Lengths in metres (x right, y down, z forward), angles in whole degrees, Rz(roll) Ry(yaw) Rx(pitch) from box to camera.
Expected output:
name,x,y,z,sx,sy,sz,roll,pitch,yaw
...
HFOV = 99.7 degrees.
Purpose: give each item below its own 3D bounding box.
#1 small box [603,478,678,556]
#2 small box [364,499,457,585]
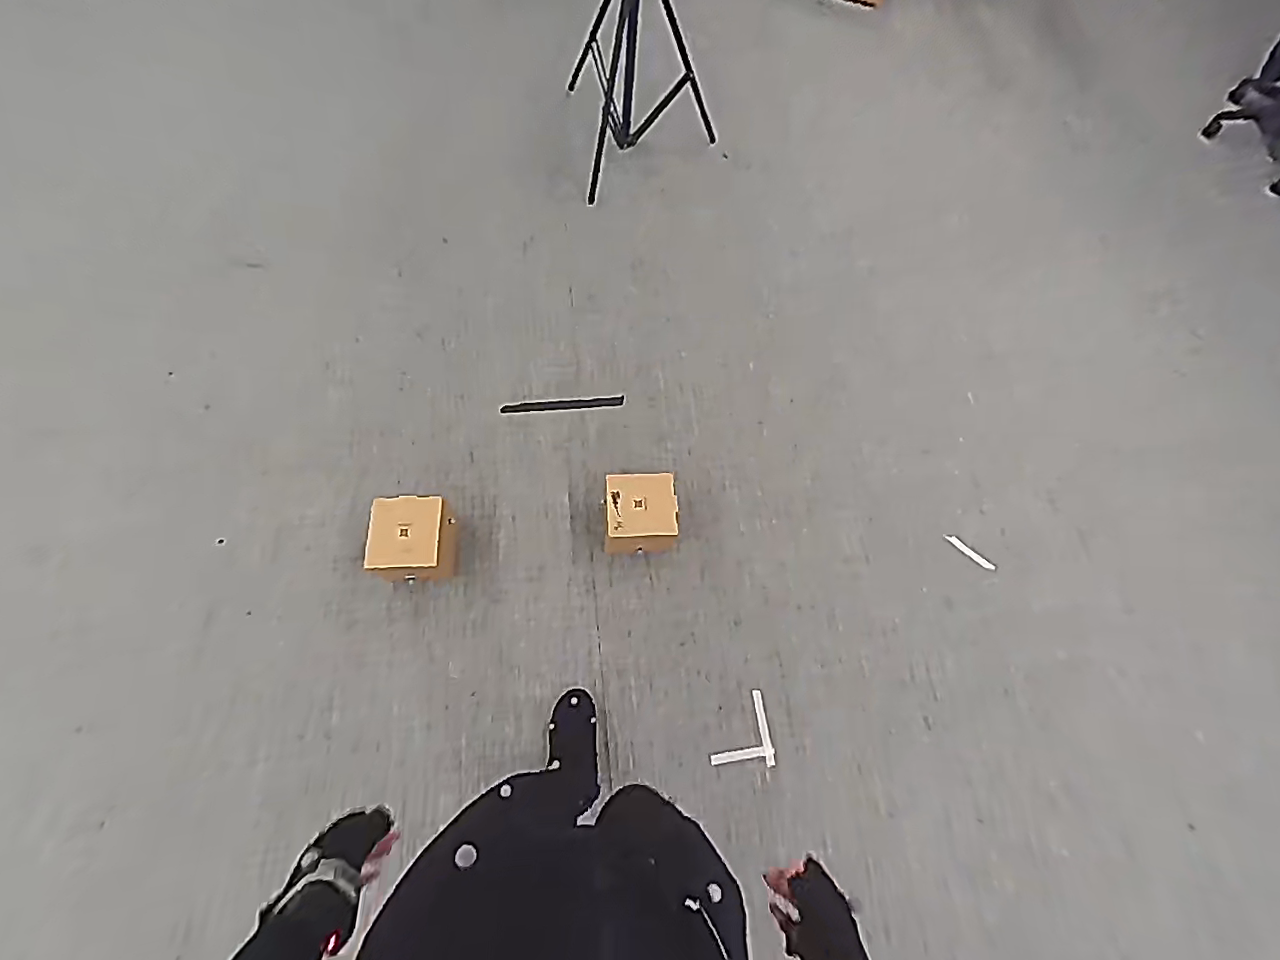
name,x,y,z,sx,sy,sz,roll,pitch,yaw
small box,-0.005,0.101,1.420,0.179,0.176,0.168,-1,69,-7
small box,-0.561,0.158,1.347,0.168,0.176,0.179,-2,69,-5
